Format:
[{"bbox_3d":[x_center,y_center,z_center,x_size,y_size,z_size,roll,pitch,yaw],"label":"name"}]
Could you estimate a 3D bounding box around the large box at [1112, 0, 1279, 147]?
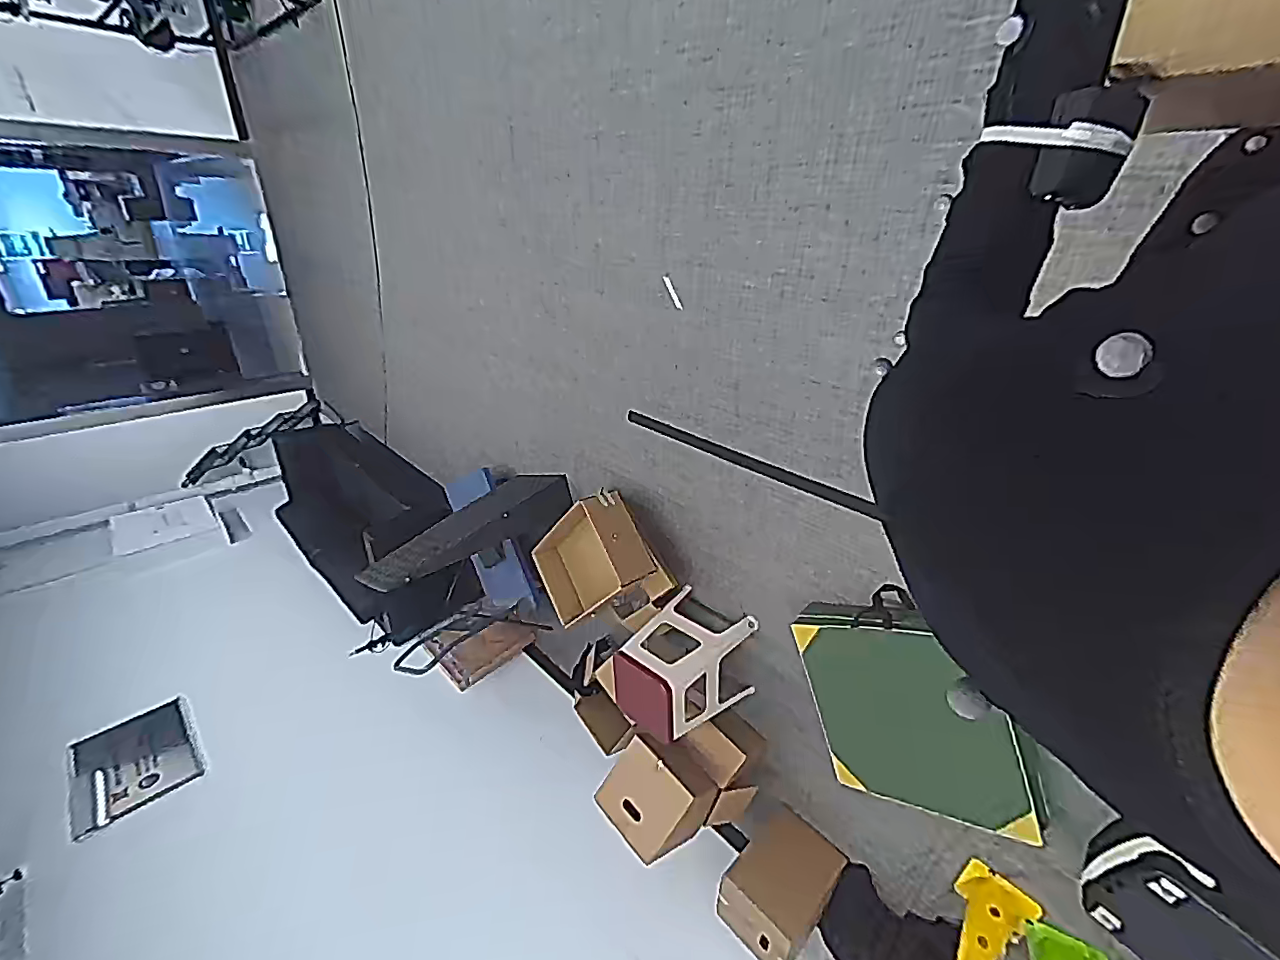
[{"bbox_3d":[0.554,-0.387,0.280,0.408,0.320,0.320,20,122,37],"label":"large box"}]
